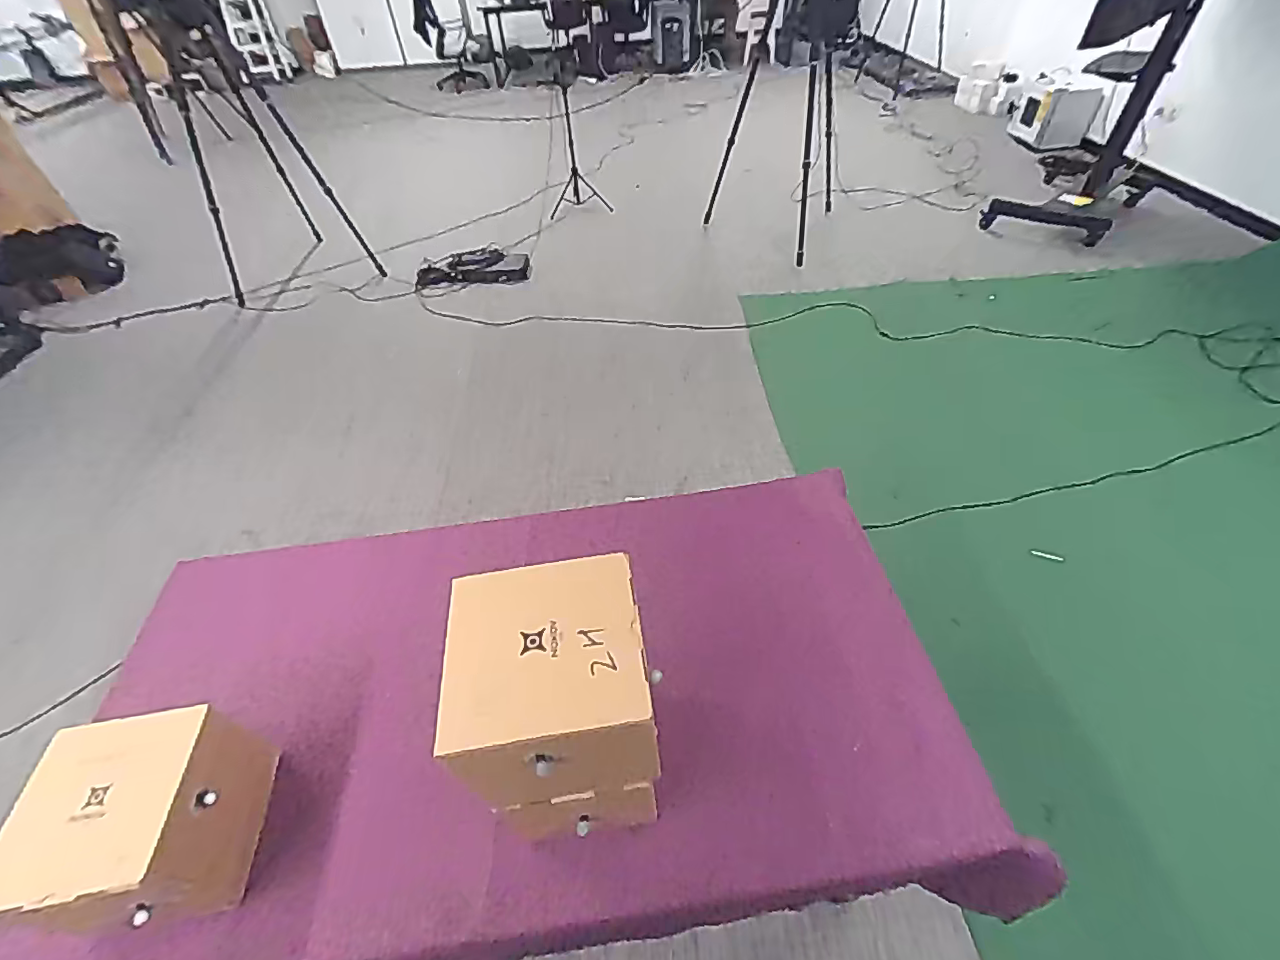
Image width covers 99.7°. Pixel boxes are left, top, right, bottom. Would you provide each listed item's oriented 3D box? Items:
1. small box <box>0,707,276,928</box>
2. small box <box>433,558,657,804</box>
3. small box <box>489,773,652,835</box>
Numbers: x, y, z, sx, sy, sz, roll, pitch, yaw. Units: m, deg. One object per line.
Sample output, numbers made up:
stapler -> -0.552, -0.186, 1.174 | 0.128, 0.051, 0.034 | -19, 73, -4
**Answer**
small box -> -0.560, 0.389, 0.619 | 0.168, 0.176, 0.179 | -7, 46, -5
small box -> -0.082, 0.202, 0.537 | 0.179, 0.176, 0.168 | -8, 47, -4
small box -> -0.077, 0.314, 0.659 | 0.168, 0.176, 0.179 | -7, 48, -3
